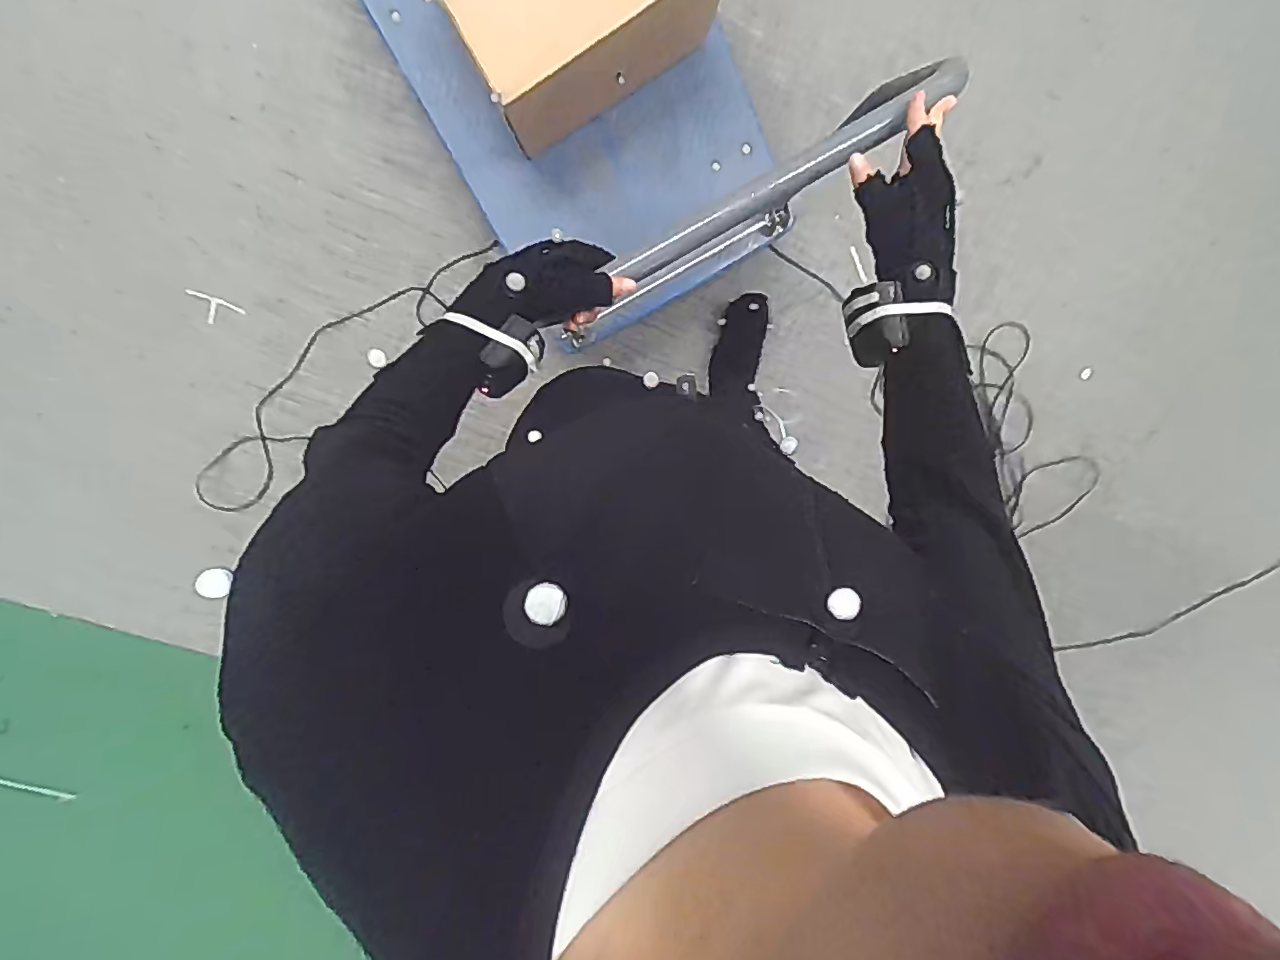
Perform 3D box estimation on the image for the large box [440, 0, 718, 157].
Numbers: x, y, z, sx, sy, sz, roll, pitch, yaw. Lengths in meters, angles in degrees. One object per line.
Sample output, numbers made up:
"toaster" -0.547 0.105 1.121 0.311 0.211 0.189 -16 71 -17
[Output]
"large box" -0.110 -0.821 0.882 0.408 0.320 0.320 -31 106 7
